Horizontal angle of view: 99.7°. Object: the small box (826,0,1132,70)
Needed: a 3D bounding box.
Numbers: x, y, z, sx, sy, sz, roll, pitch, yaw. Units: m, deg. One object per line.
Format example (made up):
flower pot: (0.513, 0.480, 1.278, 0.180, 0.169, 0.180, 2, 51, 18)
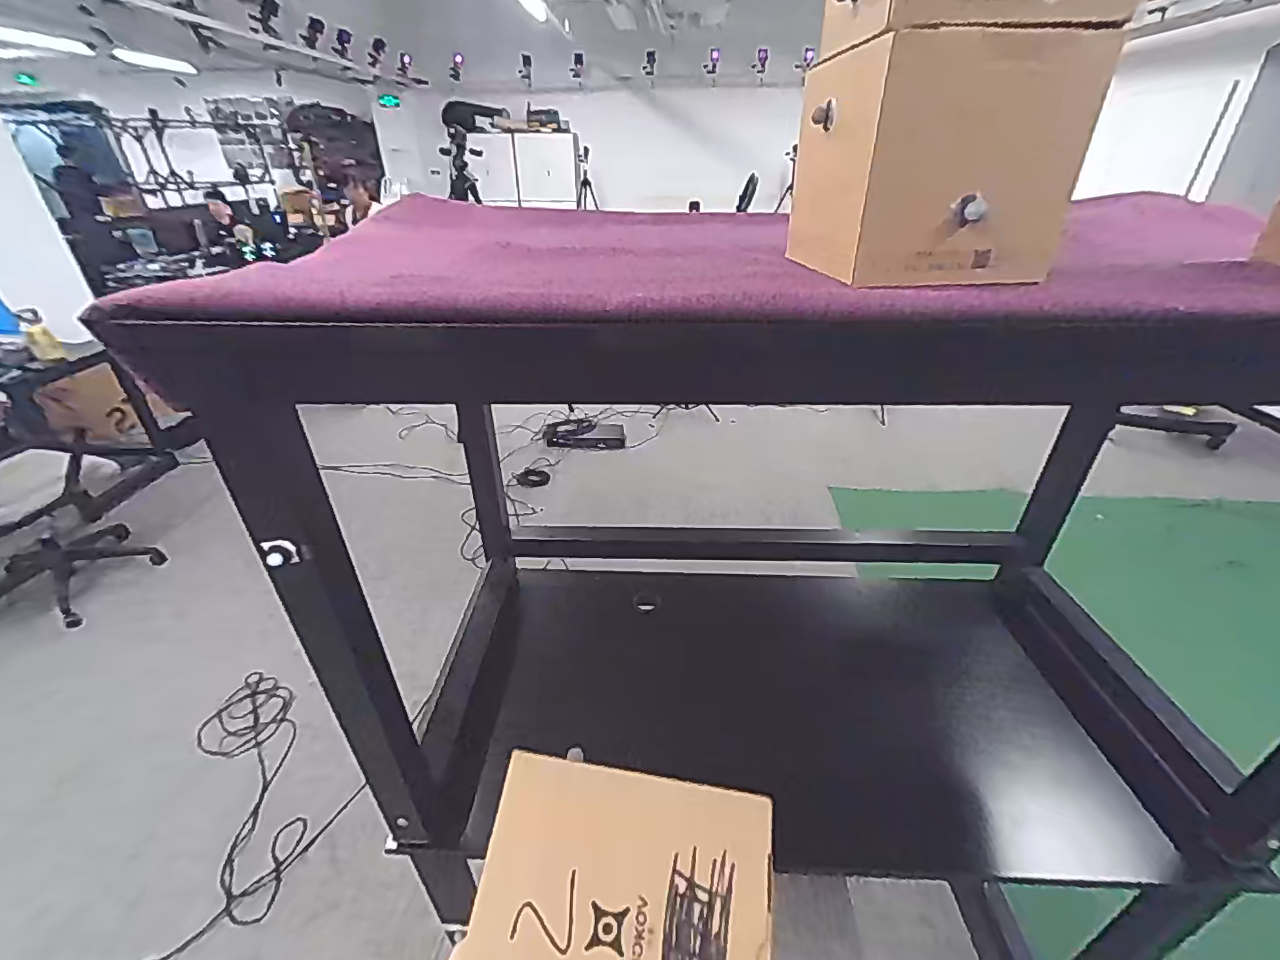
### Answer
small box: (0.250, -0.415, 0.392, 0.168, 0.176, 0.179, 0, 31, 0)
